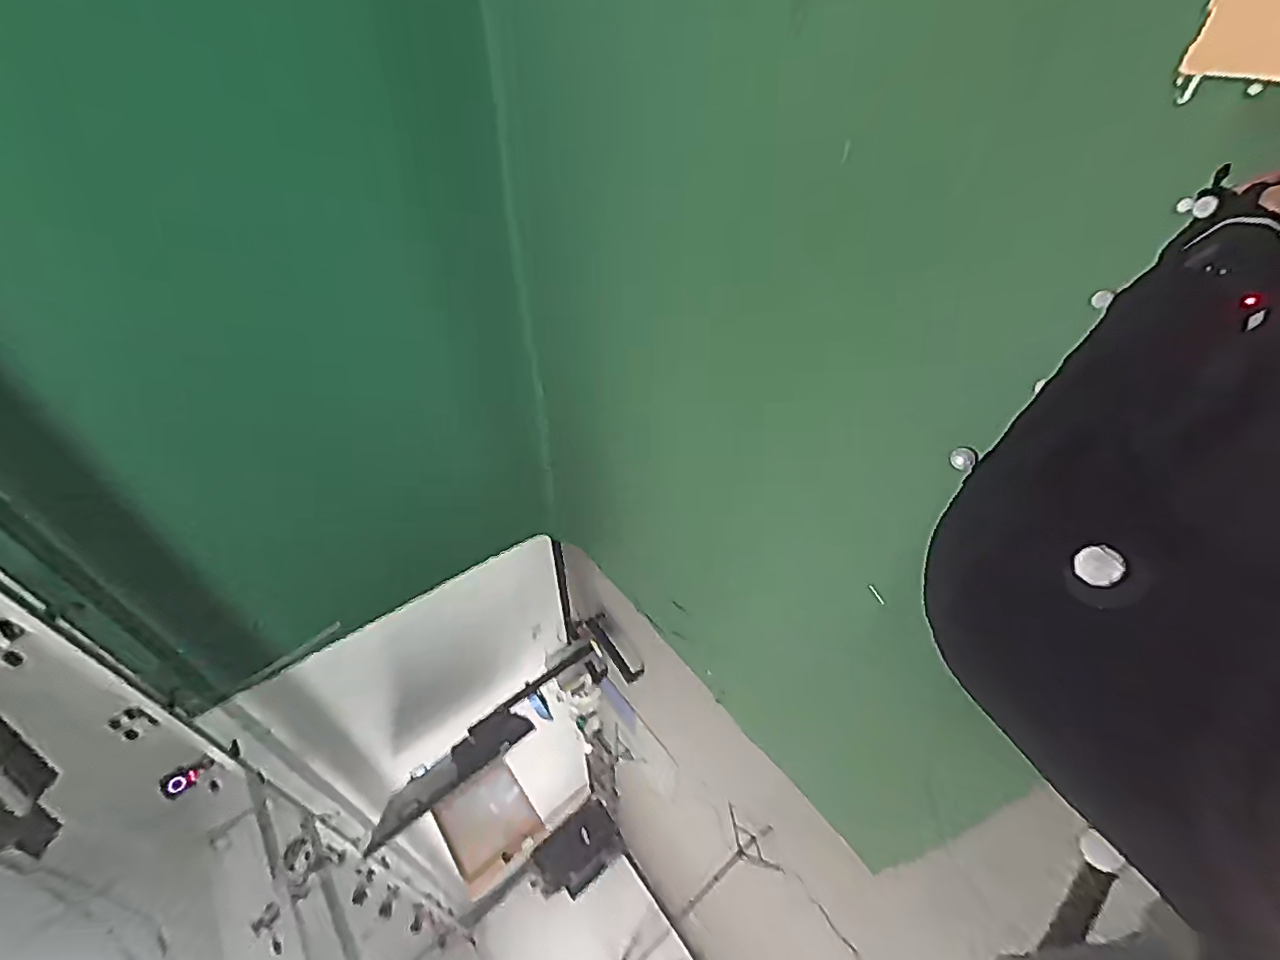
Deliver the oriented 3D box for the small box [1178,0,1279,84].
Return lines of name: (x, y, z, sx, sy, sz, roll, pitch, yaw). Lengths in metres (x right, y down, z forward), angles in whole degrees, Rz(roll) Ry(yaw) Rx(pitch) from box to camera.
small box: (0.788, -0.557, 0.608, 0.179, 0.176, 0.168, 40, 147, 36)
